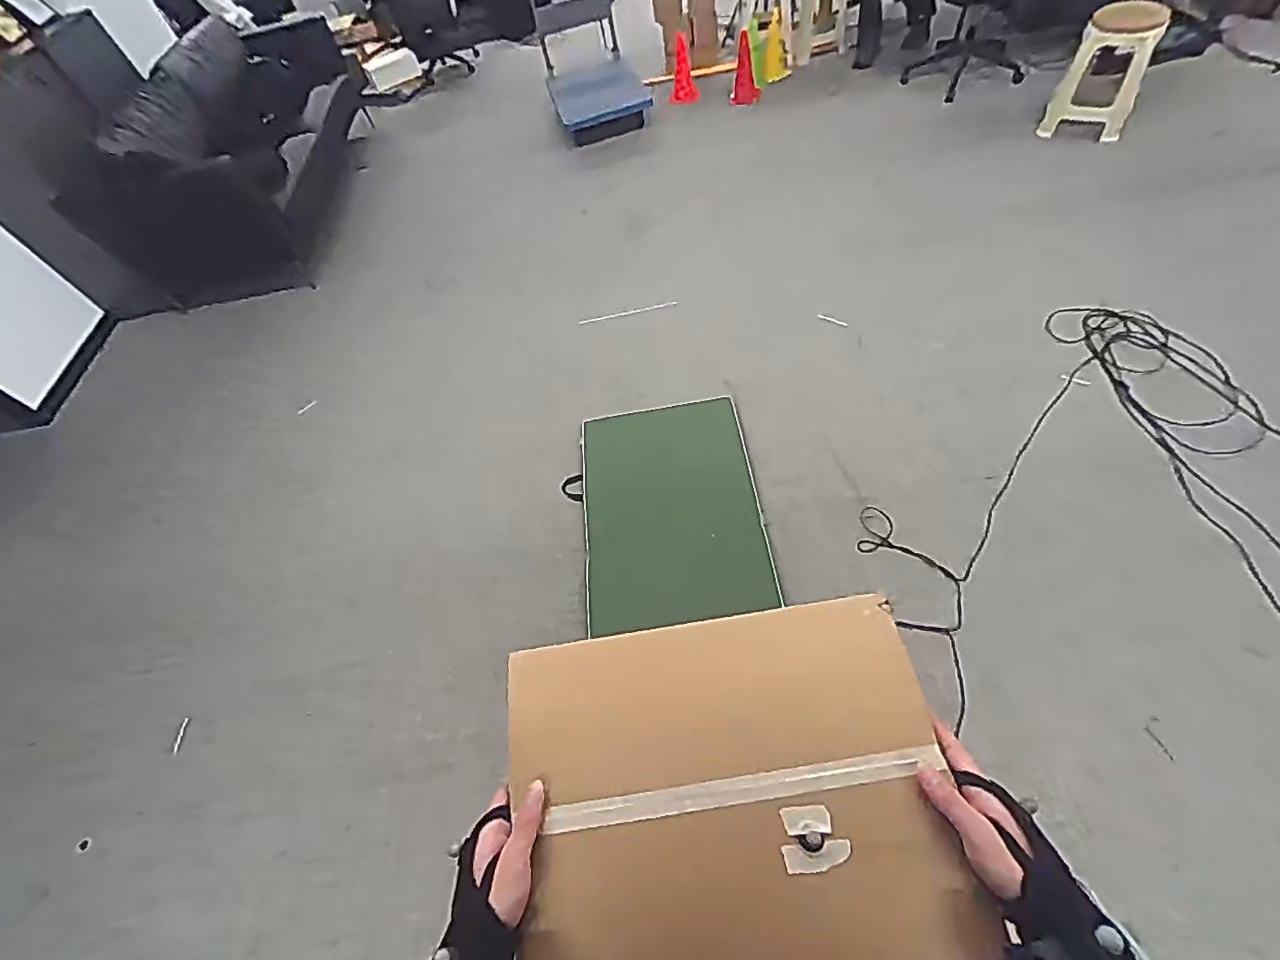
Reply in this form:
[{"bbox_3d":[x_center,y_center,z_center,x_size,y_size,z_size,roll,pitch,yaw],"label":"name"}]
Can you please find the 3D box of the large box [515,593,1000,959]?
[{"bbox_3d":[0.093,0.360,0.645,0.408,0.320,0.320,-10,62,1],"label":"large box"}]
